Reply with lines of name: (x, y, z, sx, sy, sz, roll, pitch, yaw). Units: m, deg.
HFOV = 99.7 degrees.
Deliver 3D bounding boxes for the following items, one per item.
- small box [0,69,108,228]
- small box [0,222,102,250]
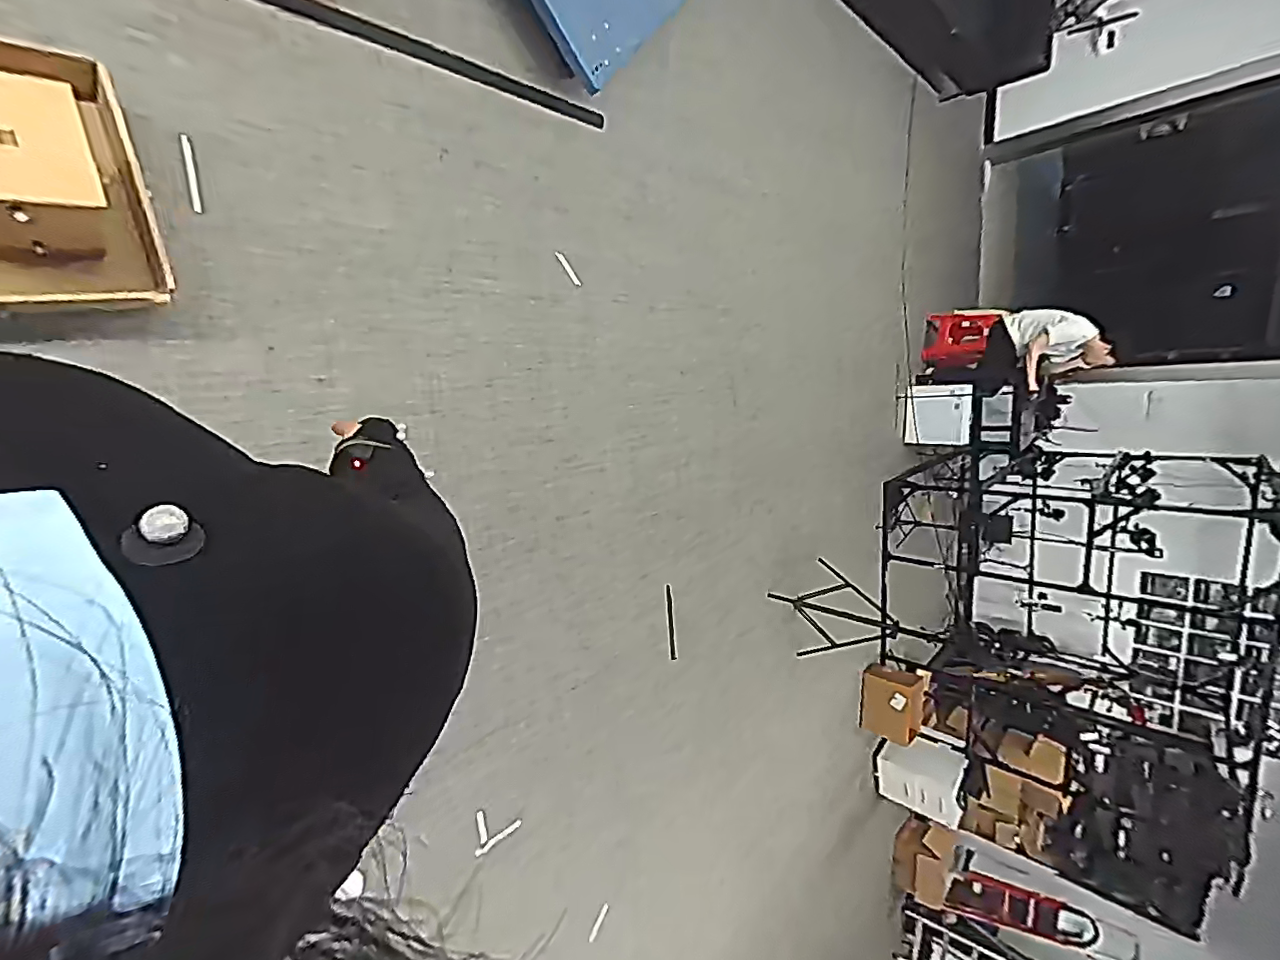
small box: (-0.921, -0.477, 0.788, 0.179, 0.176, 0.168, -18, 108, -42)
small box: (-1.034, -0.494, 0.904, 0.168, 0.176, 0.179, -18, 107, -43)
